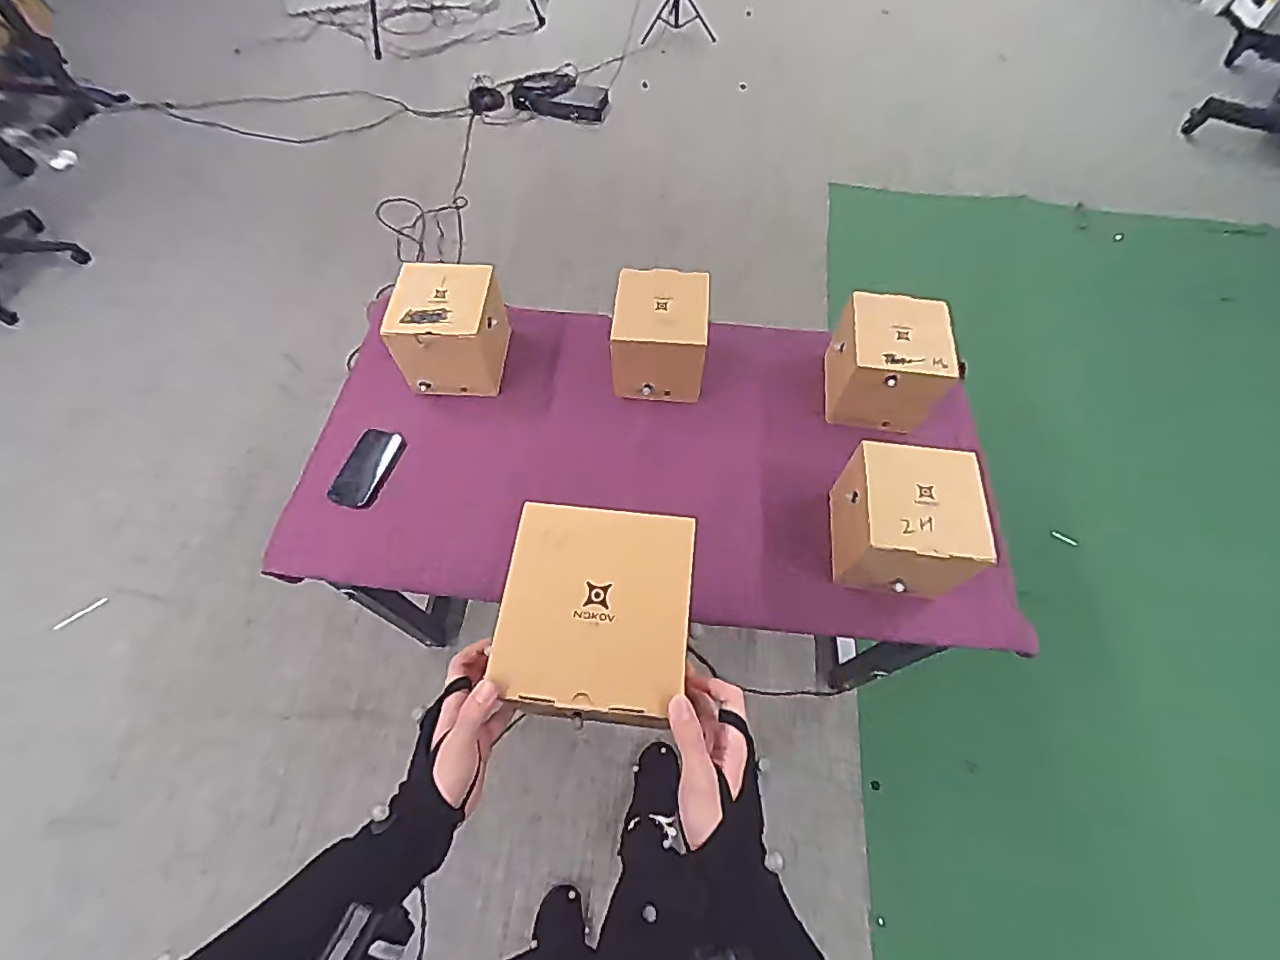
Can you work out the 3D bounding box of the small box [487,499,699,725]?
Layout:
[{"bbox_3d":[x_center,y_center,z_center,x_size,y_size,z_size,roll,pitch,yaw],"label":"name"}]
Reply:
[{"bbox_3d":[-0.037,0.139,0.545,0.168,0.176,0.179,6,63,2],"label":"small box"}]

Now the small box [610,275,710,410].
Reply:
[{"bbox_3d":[0.038,-0.255,1.017,0.168,0.176,0.179,5,61,3],"label":"small box"}]

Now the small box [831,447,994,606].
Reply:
[{"bbox_3d":[0.399,0.074,0.828,0.168,0.176,0.179,7,60,5],"label":"small box"}]

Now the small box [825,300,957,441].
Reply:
[{"bbox_3d":[0.443,-0.197,0.988,0.168,0.176,0.179,8,60,4],"label":"small box"}]

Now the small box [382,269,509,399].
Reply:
[{"bbox_3d":[-0.351,-0.269,1.015,0.168,0.176,0.179,3,60,0],"label":"small box"}]
